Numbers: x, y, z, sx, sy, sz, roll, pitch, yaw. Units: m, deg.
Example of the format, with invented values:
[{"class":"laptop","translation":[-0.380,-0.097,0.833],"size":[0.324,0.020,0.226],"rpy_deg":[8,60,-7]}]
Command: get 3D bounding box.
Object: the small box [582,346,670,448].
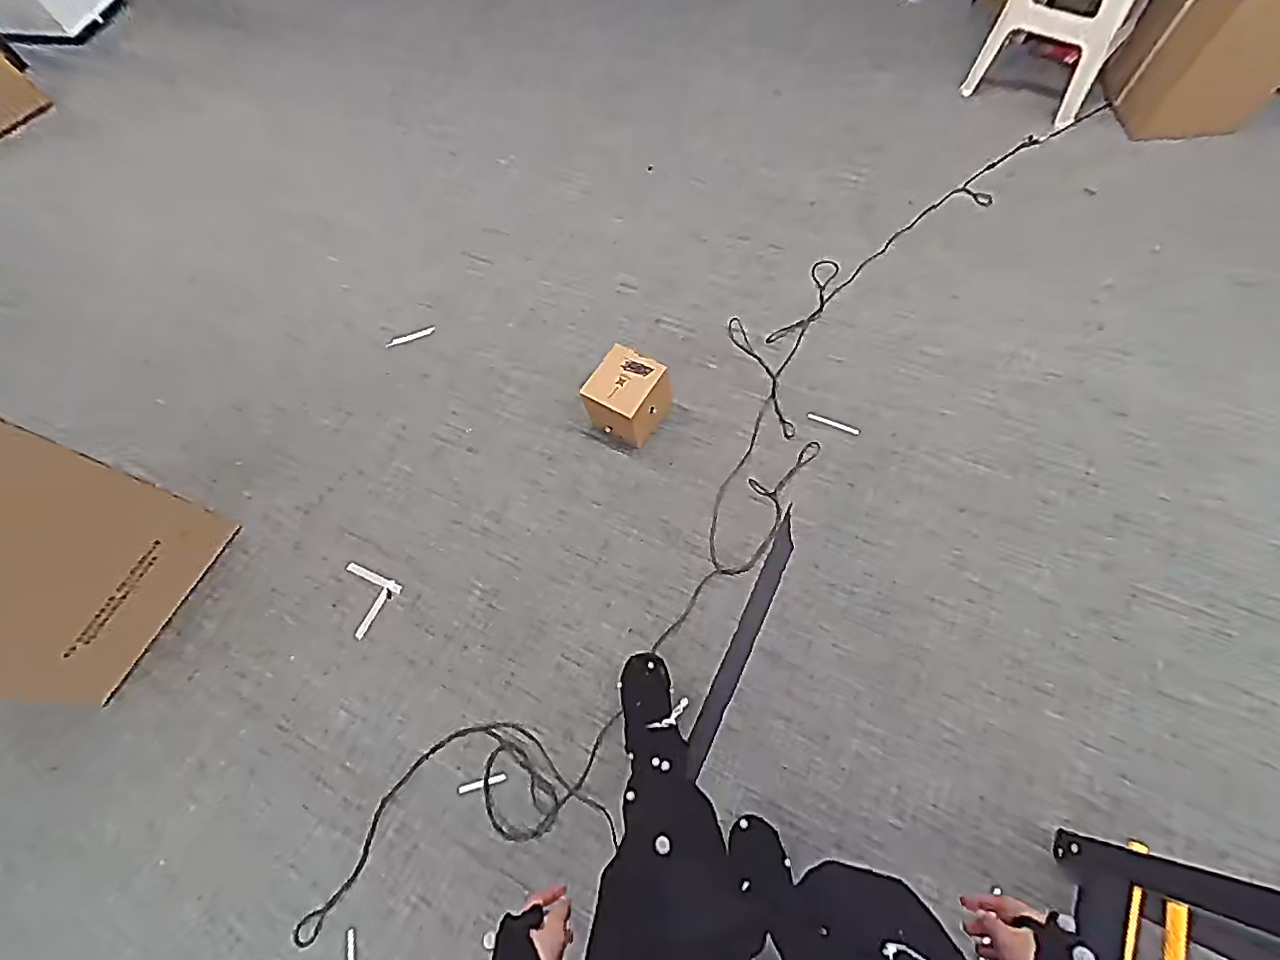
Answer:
[{"class":"small box","translation":[-0.030,-0.220,1.457],"size":[0.168,0.176,0.179],"rpy_deg":[29,73,19]}]
